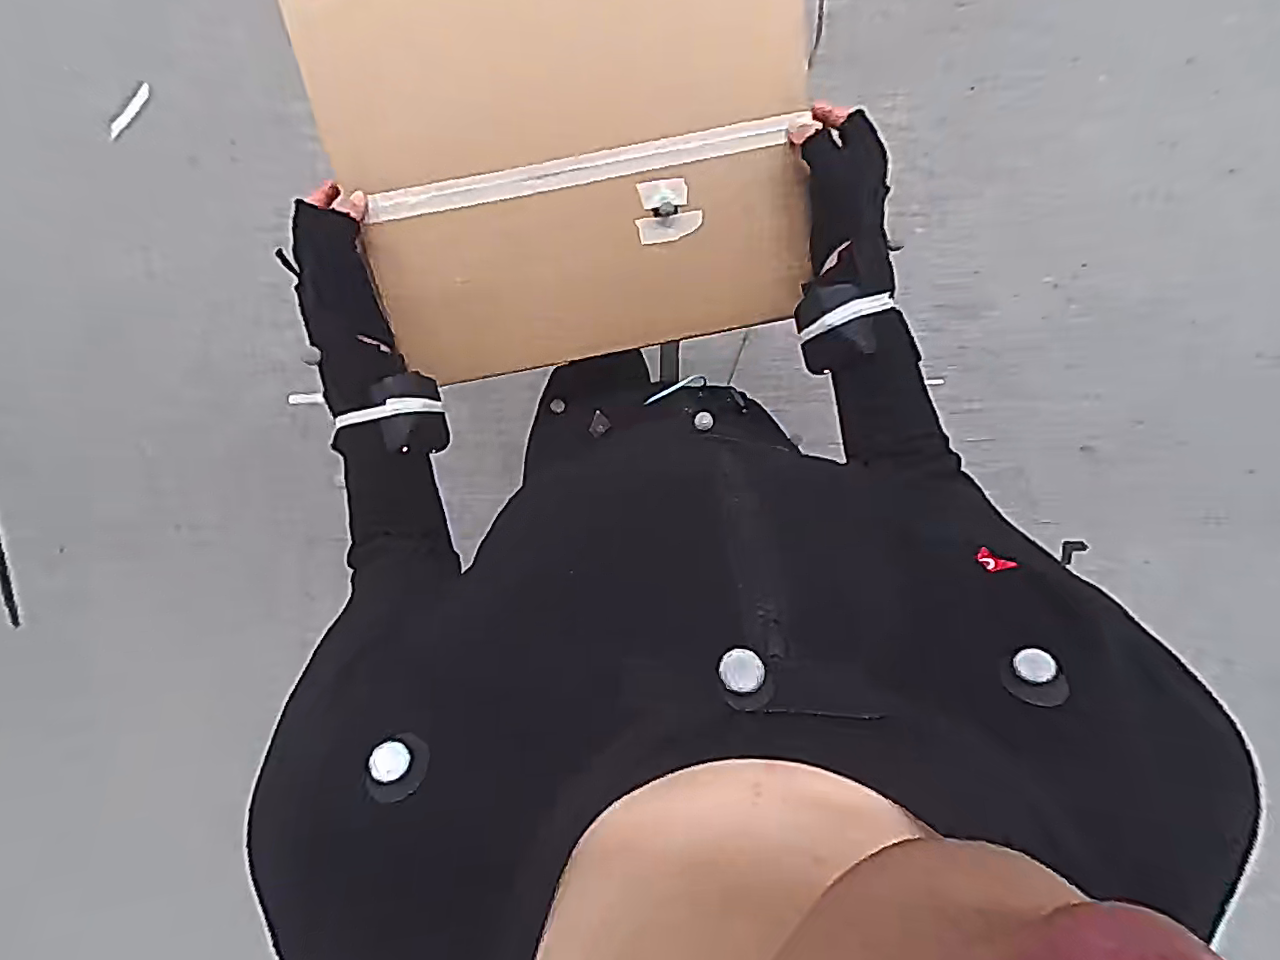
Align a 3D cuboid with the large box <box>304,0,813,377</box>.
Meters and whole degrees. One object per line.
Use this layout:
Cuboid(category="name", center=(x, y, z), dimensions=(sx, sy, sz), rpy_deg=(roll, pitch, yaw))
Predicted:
Cuboid(category="large box", center=(-0.063, -0.327, 0.620), dimensions=(0.408, 0.320, 0.320), rpy_deg=(-11, 111, -2))
